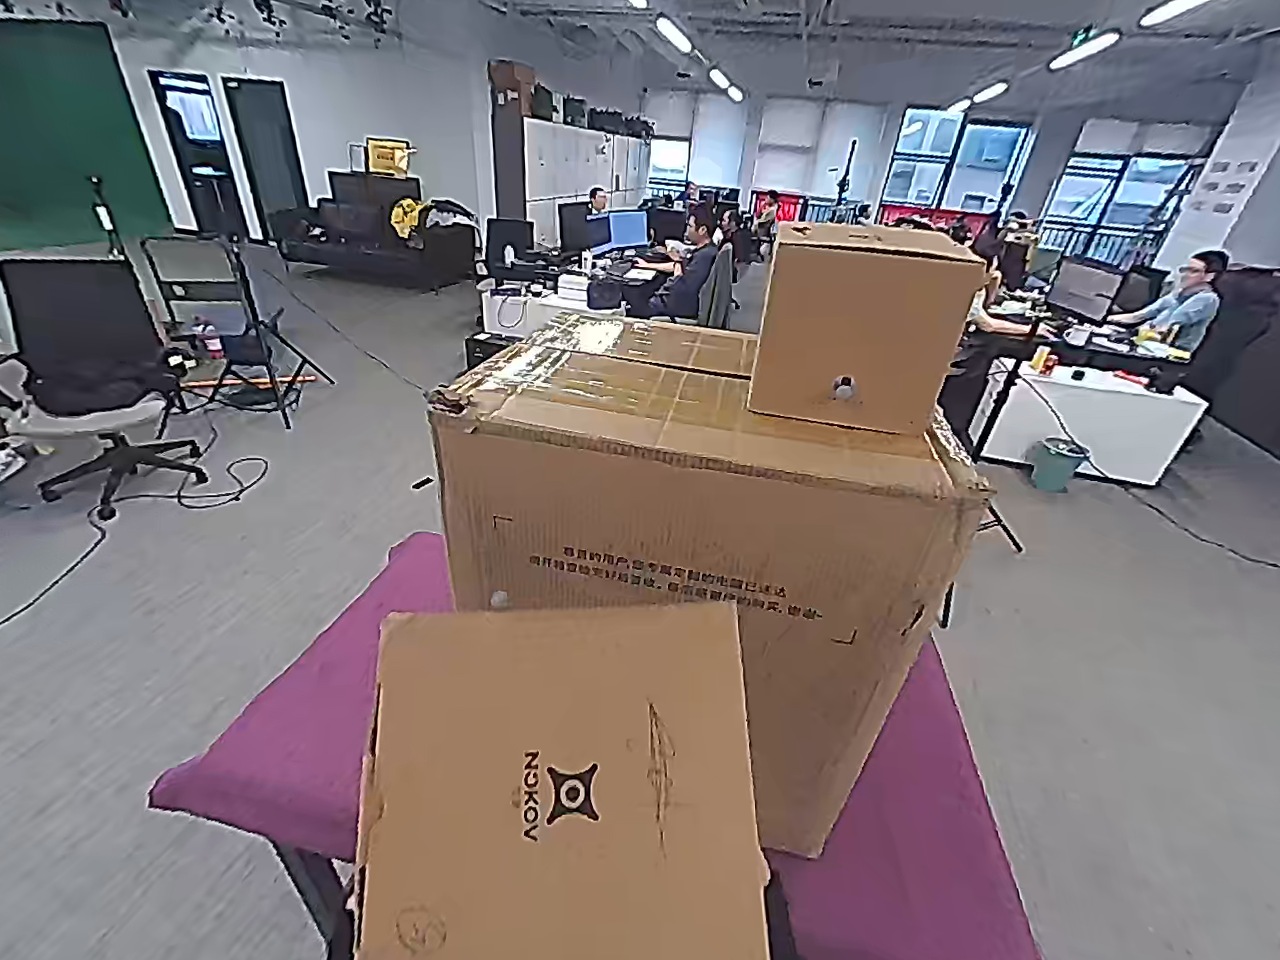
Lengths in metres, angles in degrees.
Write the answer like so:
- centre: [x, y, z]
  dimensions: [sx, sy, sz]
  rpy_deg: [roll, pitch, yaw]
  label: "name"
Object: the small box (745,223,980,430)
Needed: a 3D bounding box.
- centre: [0.219, -0.167, 0.579]
  dimensions: [0.179, 0.176, 0.168]
  rpy_deg: [10, 32, 9]
  label: "small box"
